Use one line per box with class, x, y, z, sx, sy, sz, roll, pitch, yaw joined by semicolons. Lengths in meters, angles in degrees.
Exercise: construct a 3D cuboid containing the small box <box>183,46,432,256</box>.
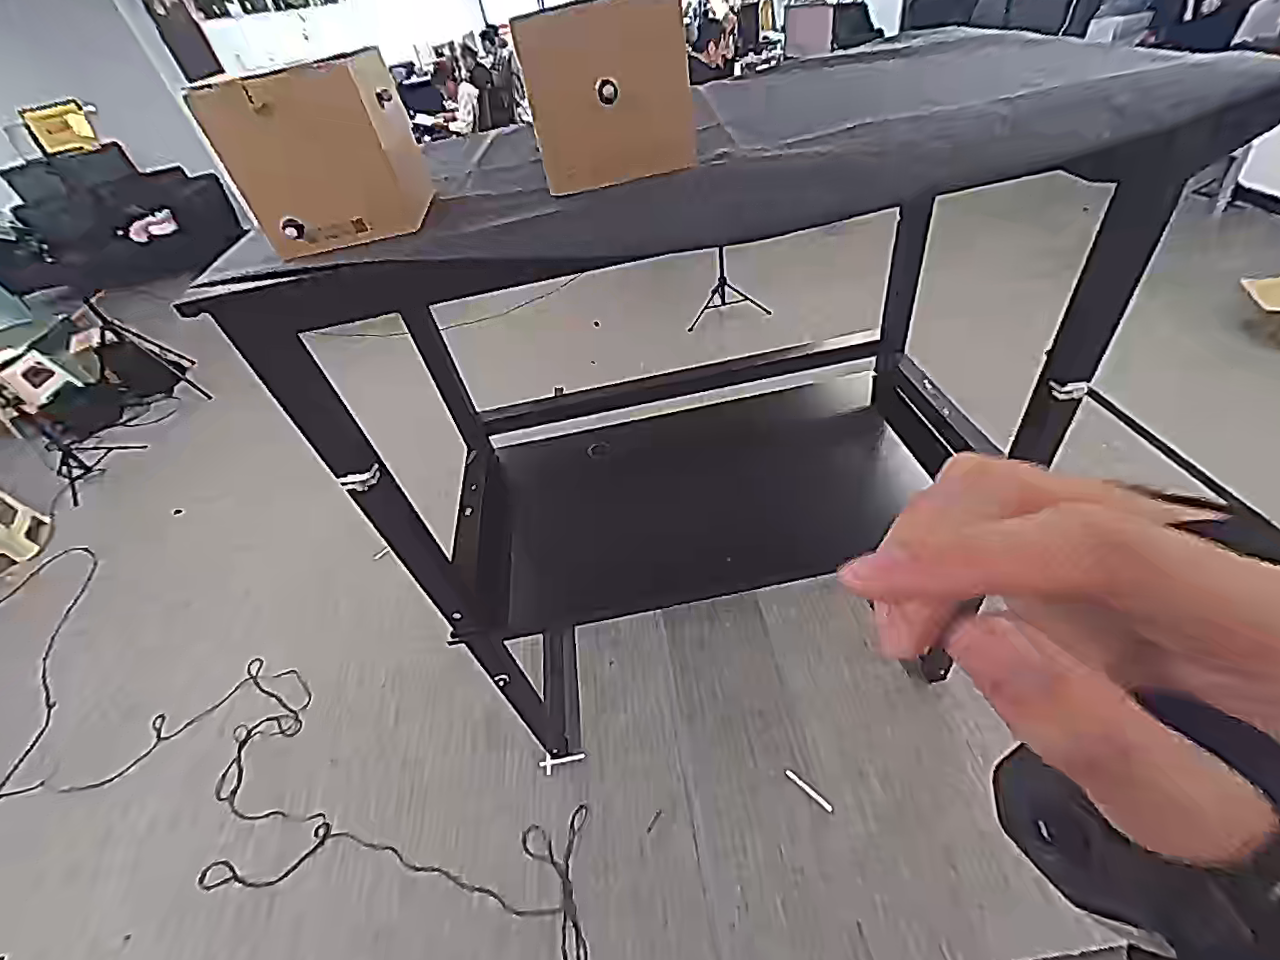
small box;-0.364;-0.381;0.637;0.168;0.176;0.179;-13;43;-1
